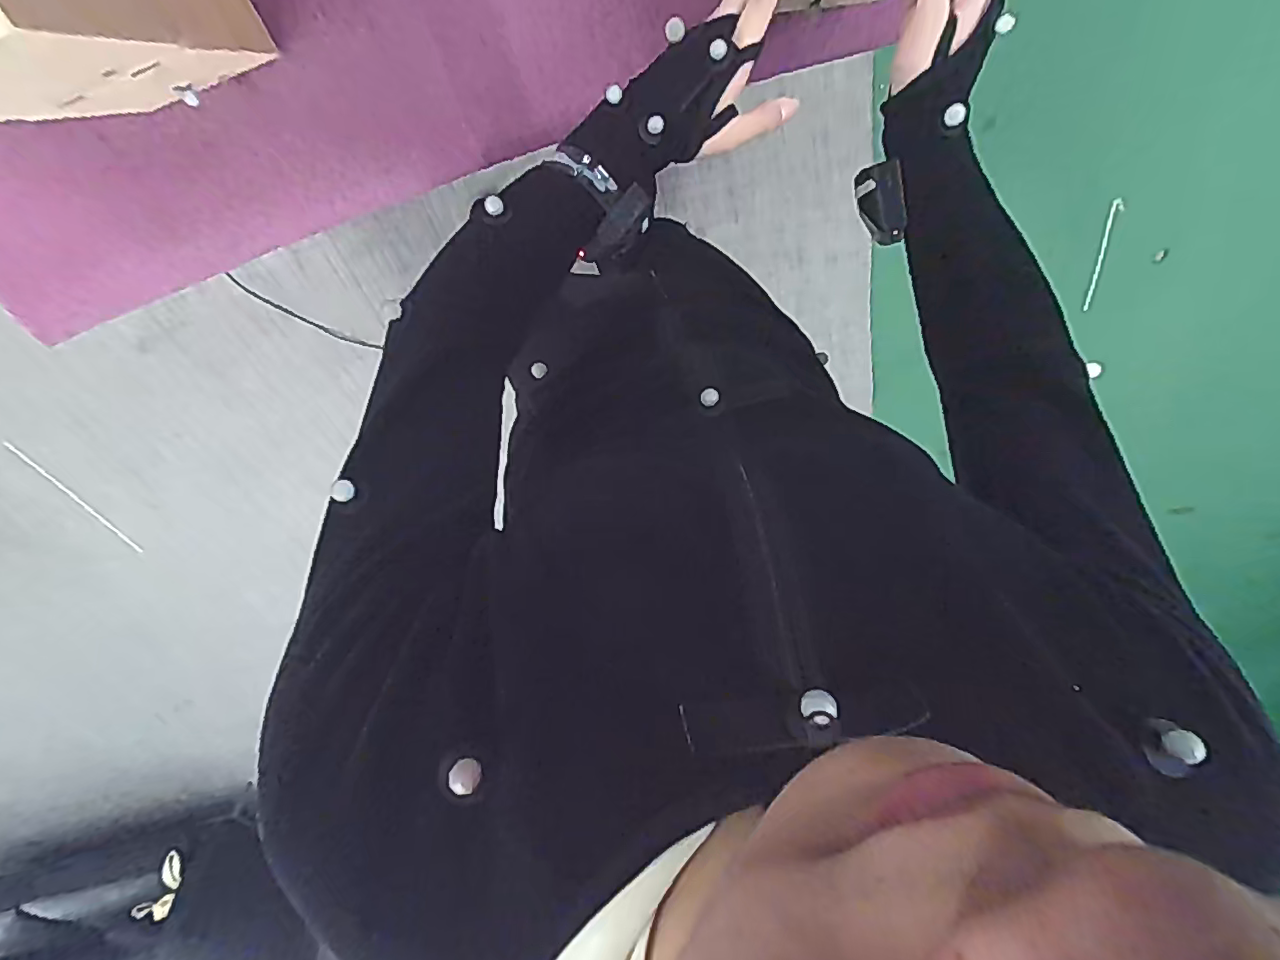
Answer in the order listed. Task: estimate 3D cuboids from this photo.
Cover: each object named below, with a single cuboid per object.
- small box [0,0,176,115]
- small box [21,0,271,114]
[{"bbox_3d":[-0.457,-0.342,0.326,0.168,0.176,0.179,-17,126,7],"label":"small box"},{"bbox_3d":[-0.471,-0.439,0.458,0.168,0.176,0.179,-16,127,6],"label":"small box"}]
